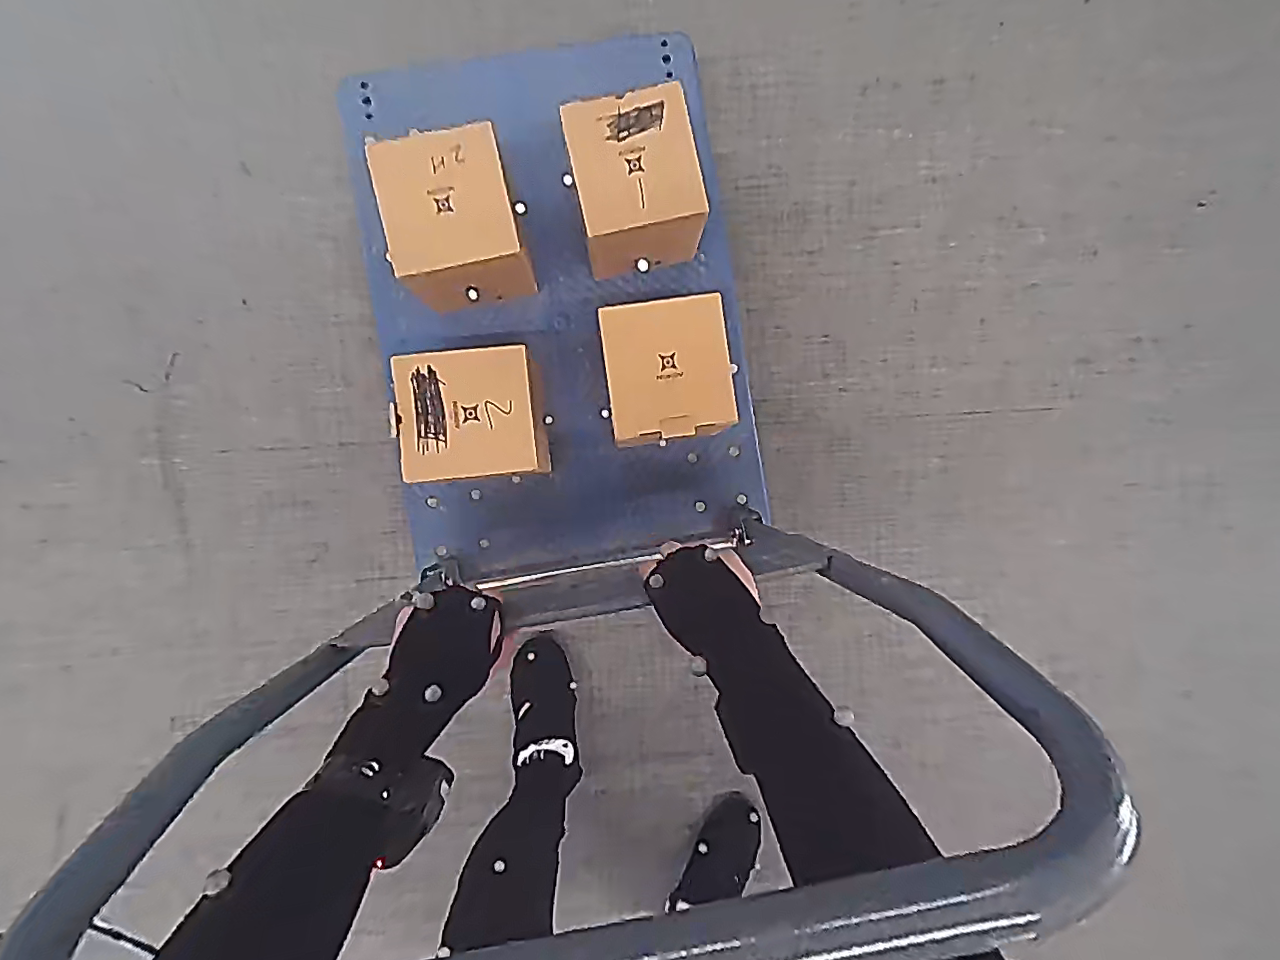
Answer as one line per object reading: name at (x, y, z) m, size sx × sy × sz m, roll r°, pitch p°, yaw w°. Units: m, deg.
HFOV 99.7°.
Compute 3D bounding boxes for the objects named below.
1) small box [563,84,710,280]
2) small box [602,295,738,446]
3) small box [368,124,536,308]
small box at (-0.008, -0.416, 0.781) m, size 0.168 × 0.176 × 0.179 m, roll -12°, pitch 92°, yaw -1°
small box at (0.035, -0.149, 0.788) m, size 0.168 × 0.176 × 0.179 m, roll -8°, pitch 91°, yaw -2°
small box at (-0.254, -0.359, 0.772) m, size 0.168 × 0.176 × 0.179 m, roll -12°, pitch 91°, yaw -3°
